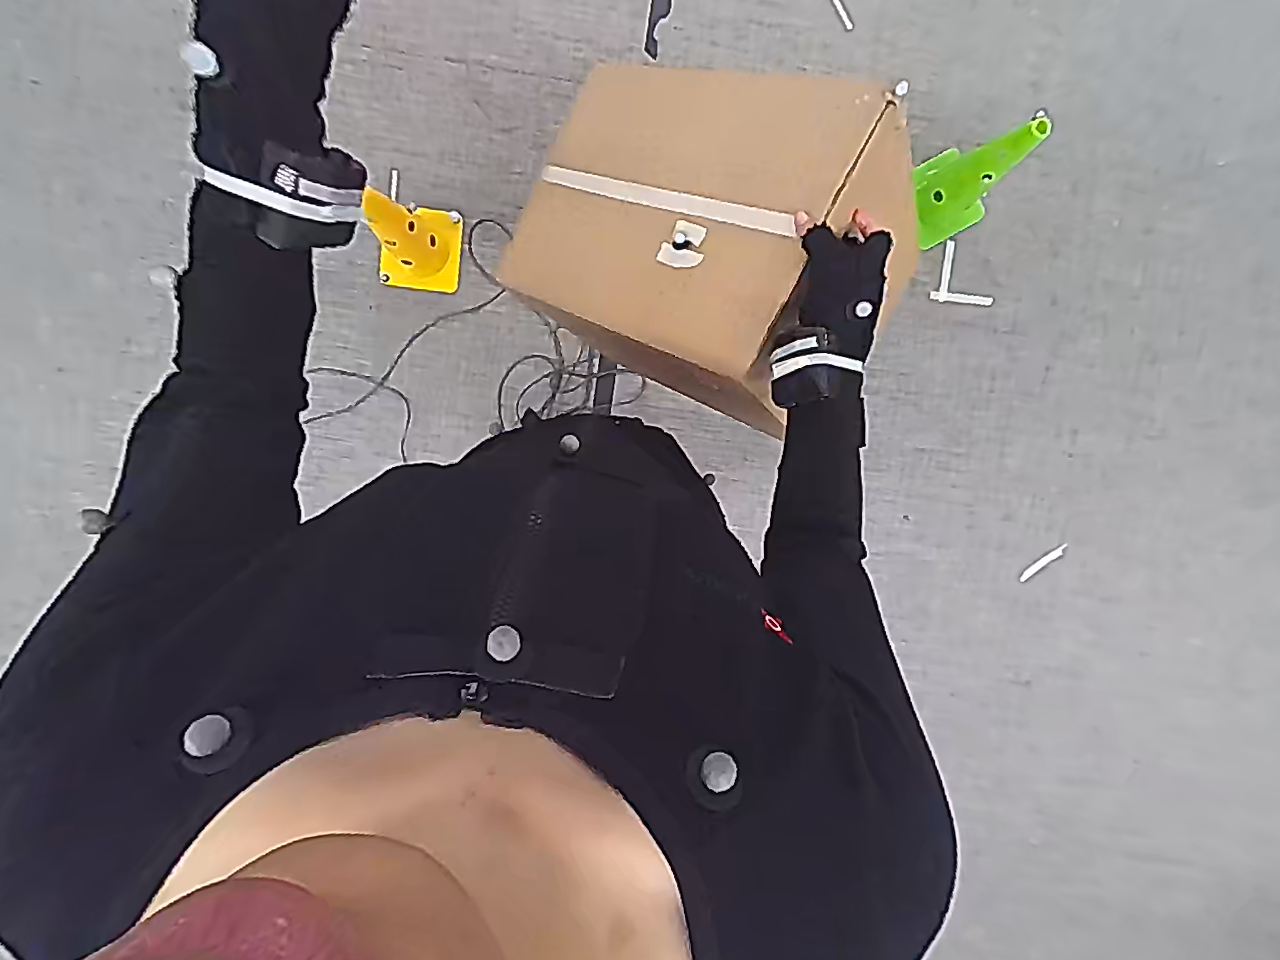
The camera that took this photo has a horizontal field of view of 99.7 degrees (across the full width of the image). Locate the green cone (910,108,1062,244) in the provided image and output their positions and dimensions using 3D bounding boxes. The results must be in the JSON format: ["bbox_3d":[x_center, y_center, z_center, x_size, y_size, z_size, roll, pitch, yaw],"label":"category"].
[{"bbox_3d":[0.798,-0.726,1.241,0.202,0.368,0.200,-30,98,0],"label":"green cone"}]

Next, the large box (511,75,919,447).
[{"bbox_3d":[0.108,-0.292,0.753,0.408,0.320,0.320,32,96,33],"label":"large box"}]
